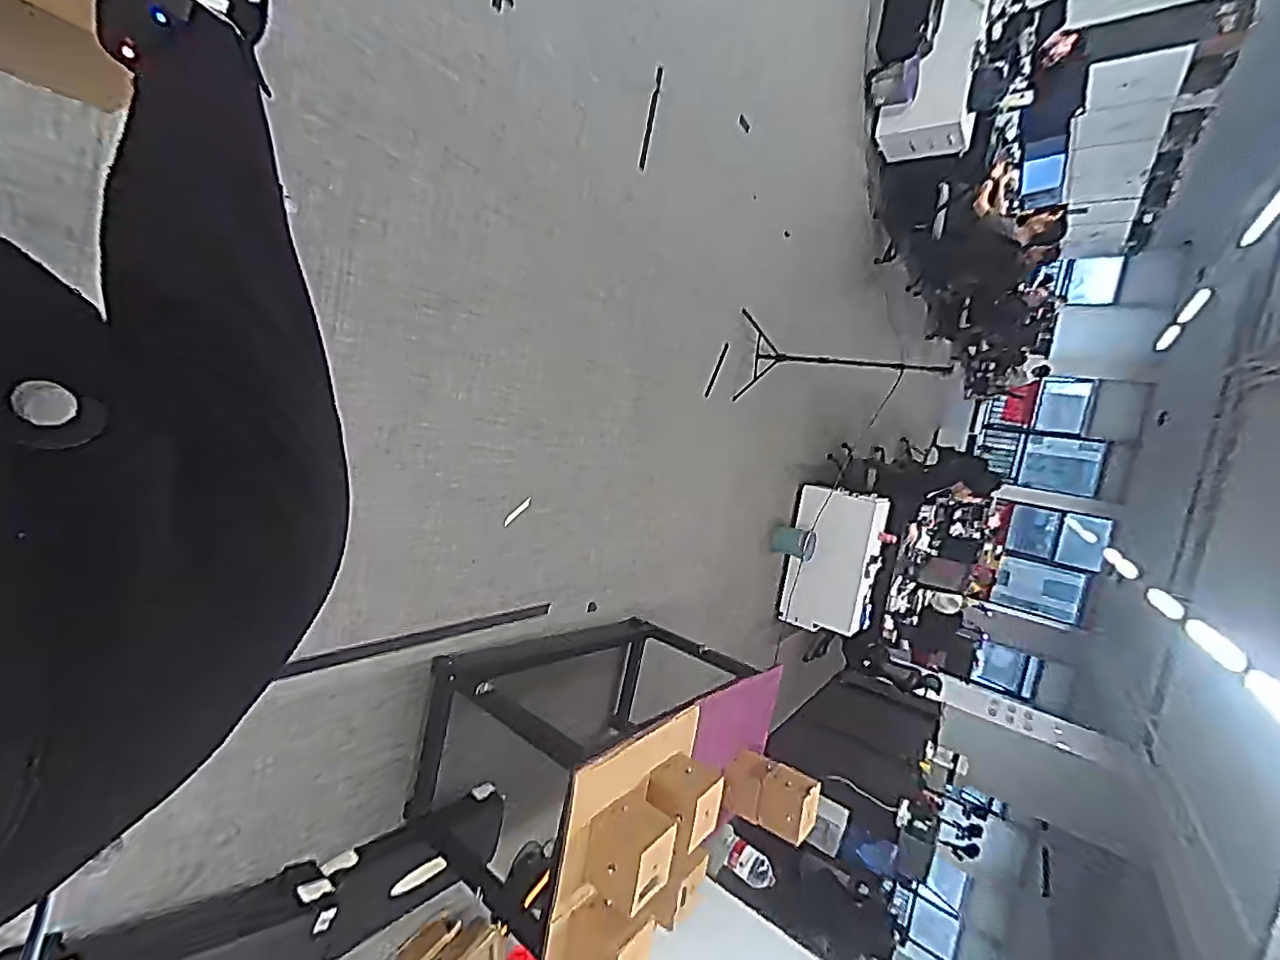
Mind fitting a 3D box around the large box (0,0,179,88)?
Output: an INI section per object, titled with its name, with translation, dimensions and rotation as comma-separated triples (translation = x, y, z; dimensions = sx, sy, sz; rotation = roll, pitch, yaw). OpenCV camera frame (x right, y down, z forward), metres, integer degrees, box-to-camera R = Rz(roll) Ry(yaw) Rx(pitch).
[large box]
translation = -0.586, -0.538, 0.351
dimensions = 0.408, 0.320, 0.320
rotation = -1, 107, -53
